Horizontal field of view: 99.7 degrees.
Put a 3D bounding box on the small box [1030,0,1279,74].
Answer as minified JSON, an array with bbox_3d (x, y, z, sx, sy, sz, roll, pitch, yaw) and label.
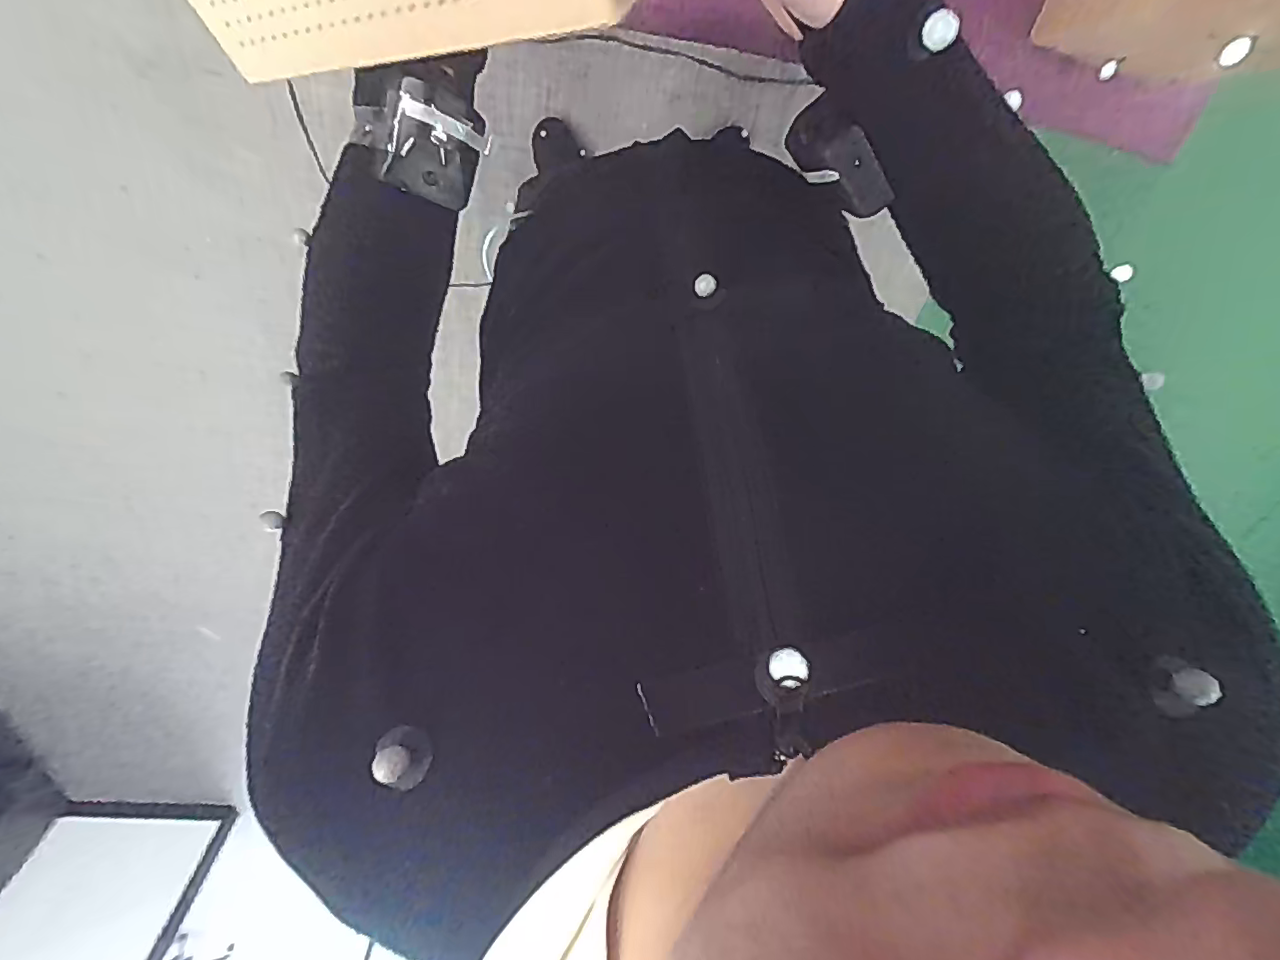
[{"bbox_3d":[0.549,-0.520,0.529,0.179,0.176,0.168,10,122,-9],"label":"small box"}]

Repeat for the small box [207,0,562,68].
[{"bbox_3d":[-0.076,-0.262,0.164,0.179,0.168,0.176,12,152,23],"label":"small box"}]
